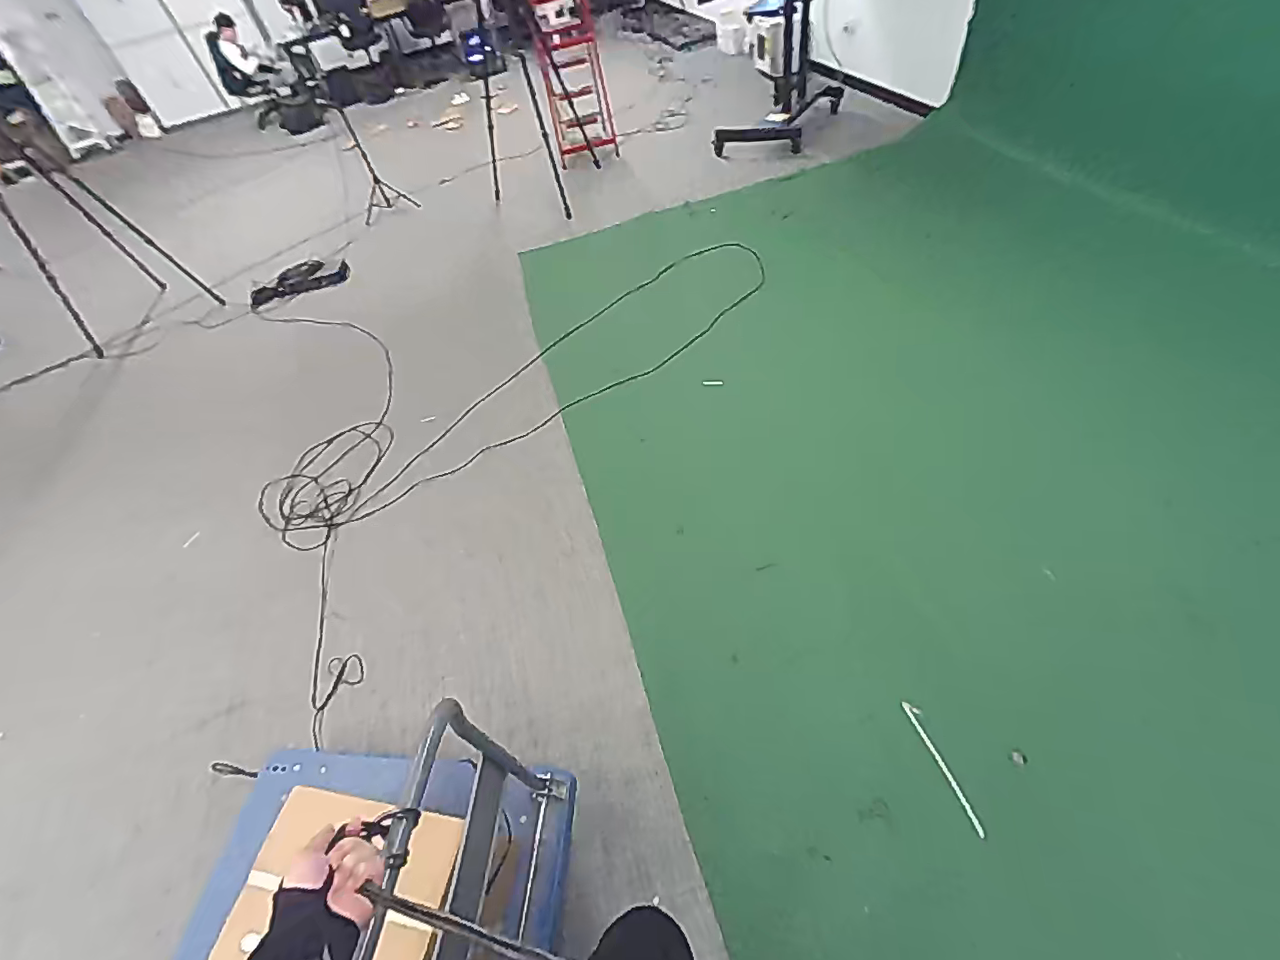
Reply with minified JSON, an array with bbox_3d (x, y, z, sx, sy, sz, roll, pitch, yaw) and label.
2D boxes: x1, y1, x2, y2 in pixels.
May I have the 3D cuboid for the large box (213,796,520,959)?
[{"bbox_3d":[-0.506,0.851,1.068,0.408,0.320,0.320,1,51,14],"label":"large box"}]
